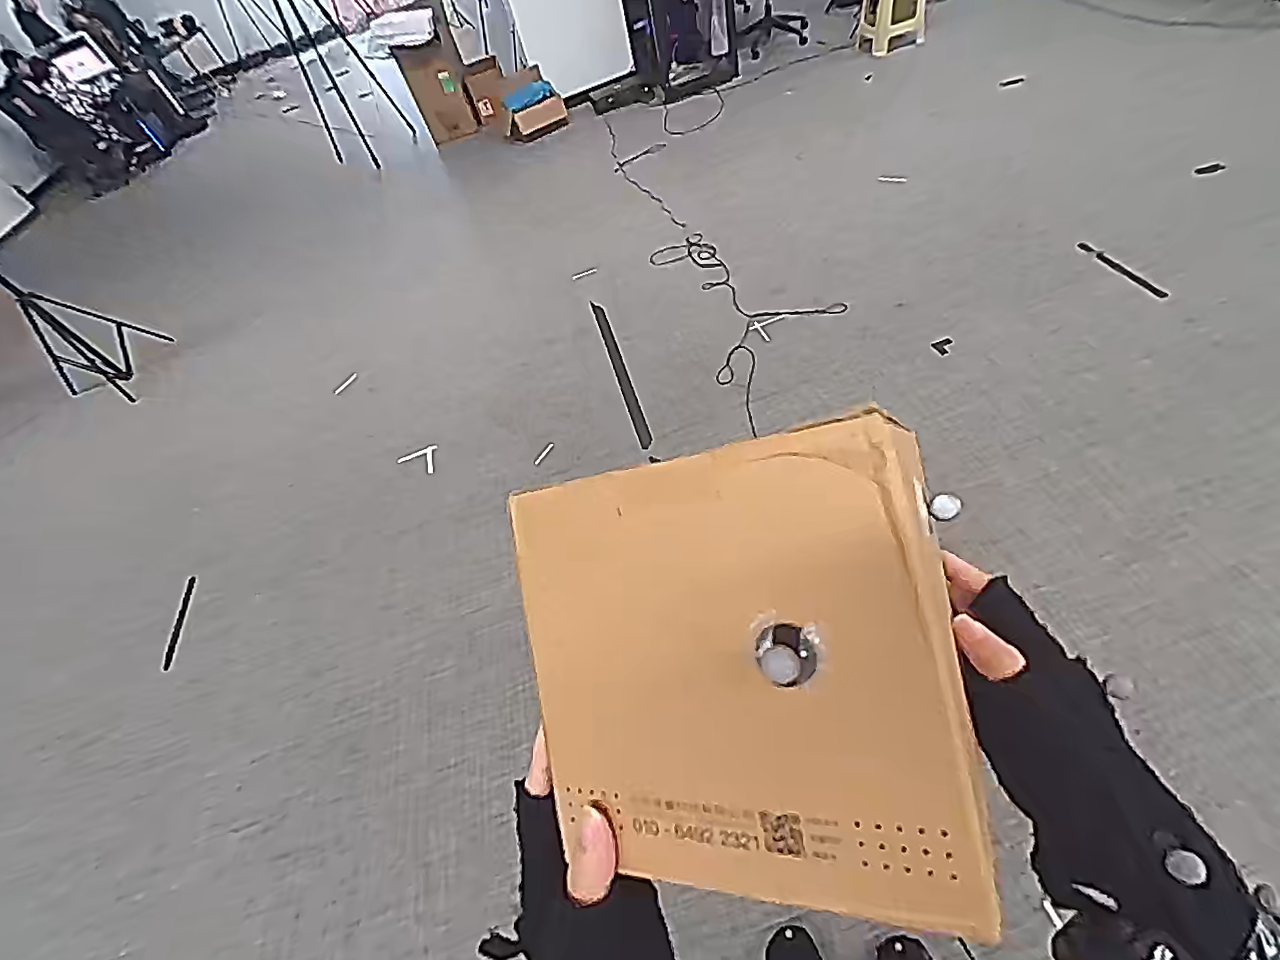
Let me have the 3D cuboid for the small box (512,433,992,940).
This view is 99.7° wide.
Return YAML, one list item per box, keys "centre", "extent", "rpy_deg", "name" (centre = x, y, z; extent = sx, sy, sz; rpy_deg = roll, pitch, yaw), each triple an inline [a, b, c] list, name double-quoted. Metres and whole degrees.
- centre: [0.065, 0.079, 0.279]
  extent: [0.168, 0.179, 0.176]
  rpy_deg: [-12, 86, 29]
  name: "small box"
